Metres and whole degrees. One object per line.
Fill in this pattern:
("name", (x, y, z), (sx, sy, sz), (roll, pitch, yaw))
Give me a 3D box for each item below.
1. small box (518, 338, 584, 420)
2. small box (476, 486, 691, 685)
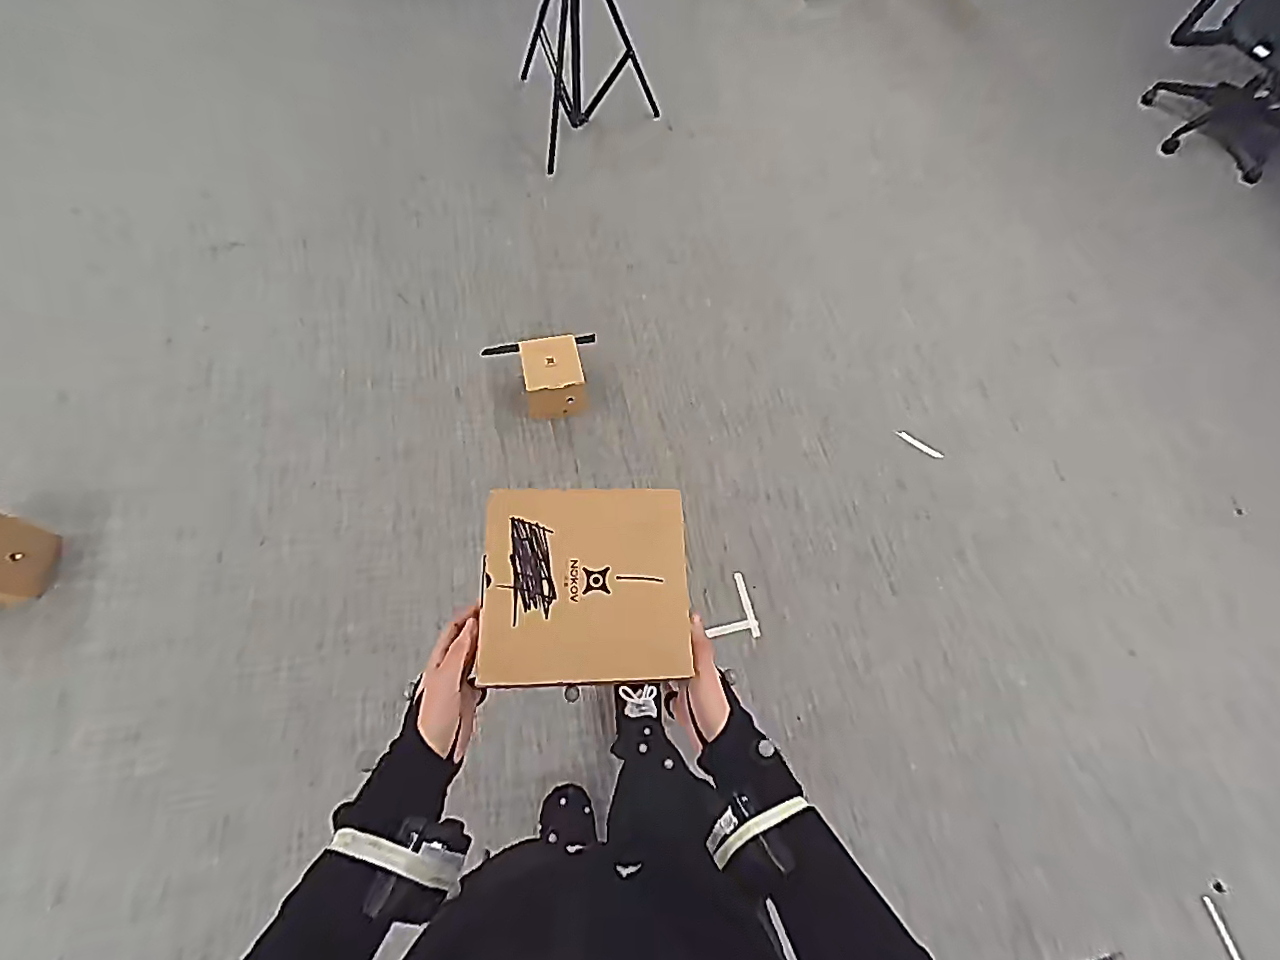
("small box", (-0.261, -0.294, 1.613), (0.168, 0.176, 0.179), (-11, 66, -11))
("small box", (-0.054, 0.112, 0.536), (0.179, 0.176, 0.168), (0, 69, -7))
